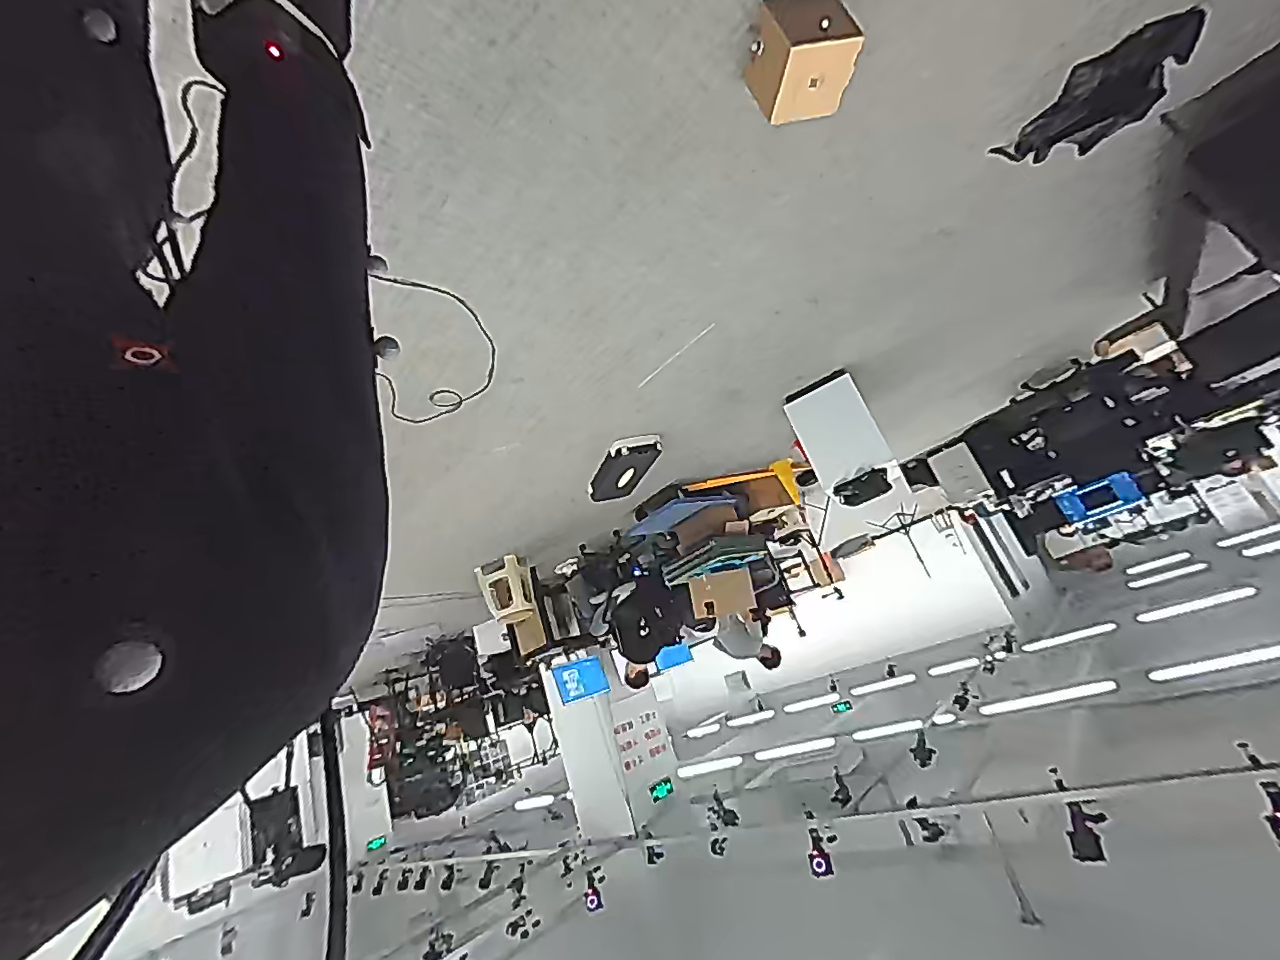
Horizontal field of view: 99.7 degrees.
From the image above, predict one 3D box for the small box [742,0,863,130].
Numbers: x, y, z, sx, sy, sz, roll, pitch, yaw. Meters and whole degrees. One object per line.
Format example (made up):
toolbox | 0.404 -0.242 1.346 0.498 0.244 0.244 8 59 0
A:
small box | 0.354 -0.931 1.211 0.179 0.176 0.168 -16 159 -10
